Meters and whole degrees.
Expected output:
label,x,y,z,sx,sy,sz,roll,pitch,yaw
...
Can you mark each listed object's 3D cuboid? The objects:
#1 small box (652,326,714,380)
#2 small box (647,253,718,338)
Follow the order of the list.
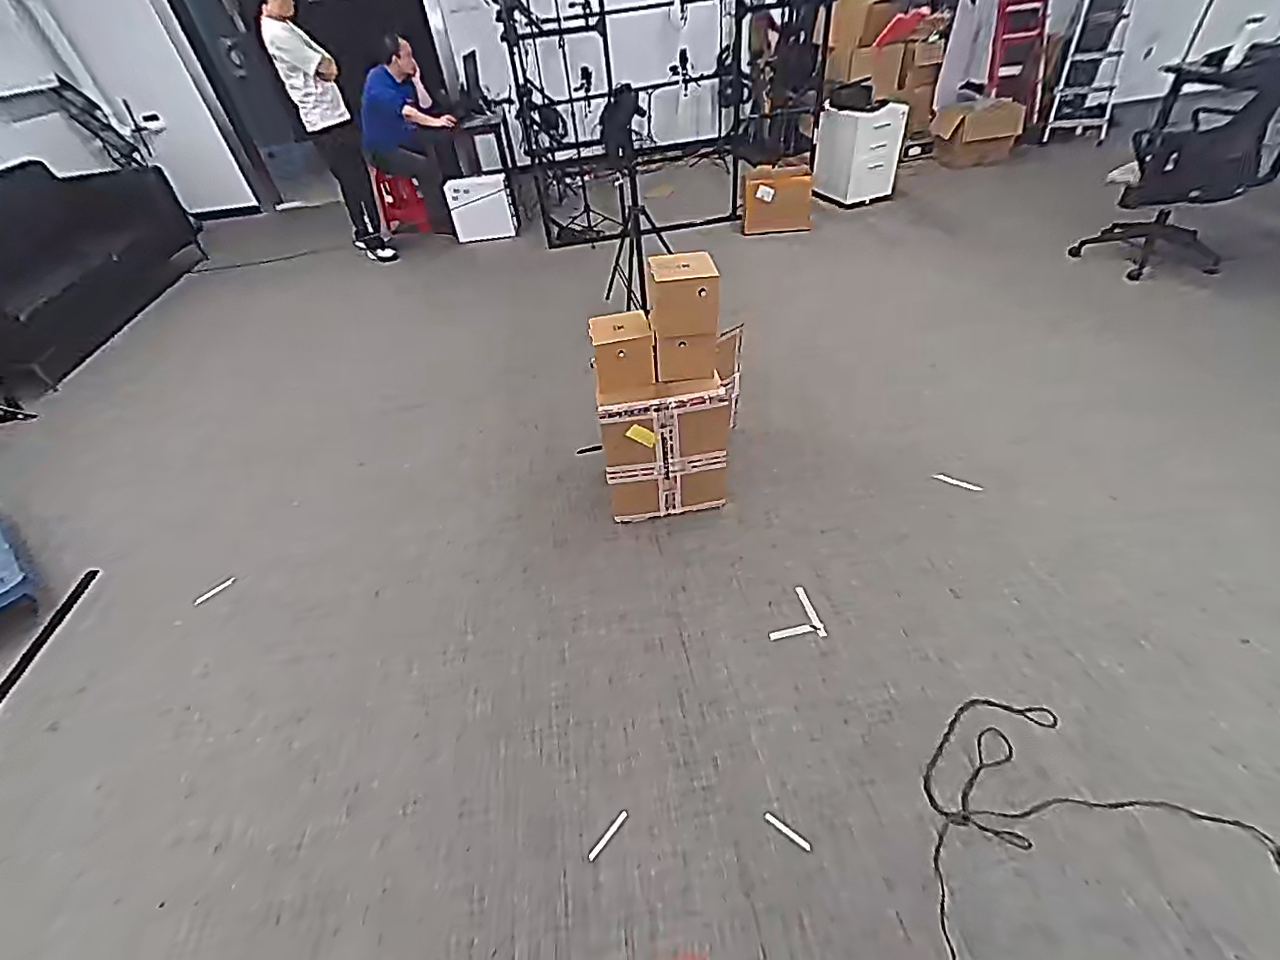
label,x,y,z,sx,sy,sz,roll,pitch,yaw
small box,0.129,-0.421,1.667,0.179,0.176,0.168,-4,44,0
small box,0.117,-0.522,1.535,0.179,0.176,0.168,-7,44,-2
